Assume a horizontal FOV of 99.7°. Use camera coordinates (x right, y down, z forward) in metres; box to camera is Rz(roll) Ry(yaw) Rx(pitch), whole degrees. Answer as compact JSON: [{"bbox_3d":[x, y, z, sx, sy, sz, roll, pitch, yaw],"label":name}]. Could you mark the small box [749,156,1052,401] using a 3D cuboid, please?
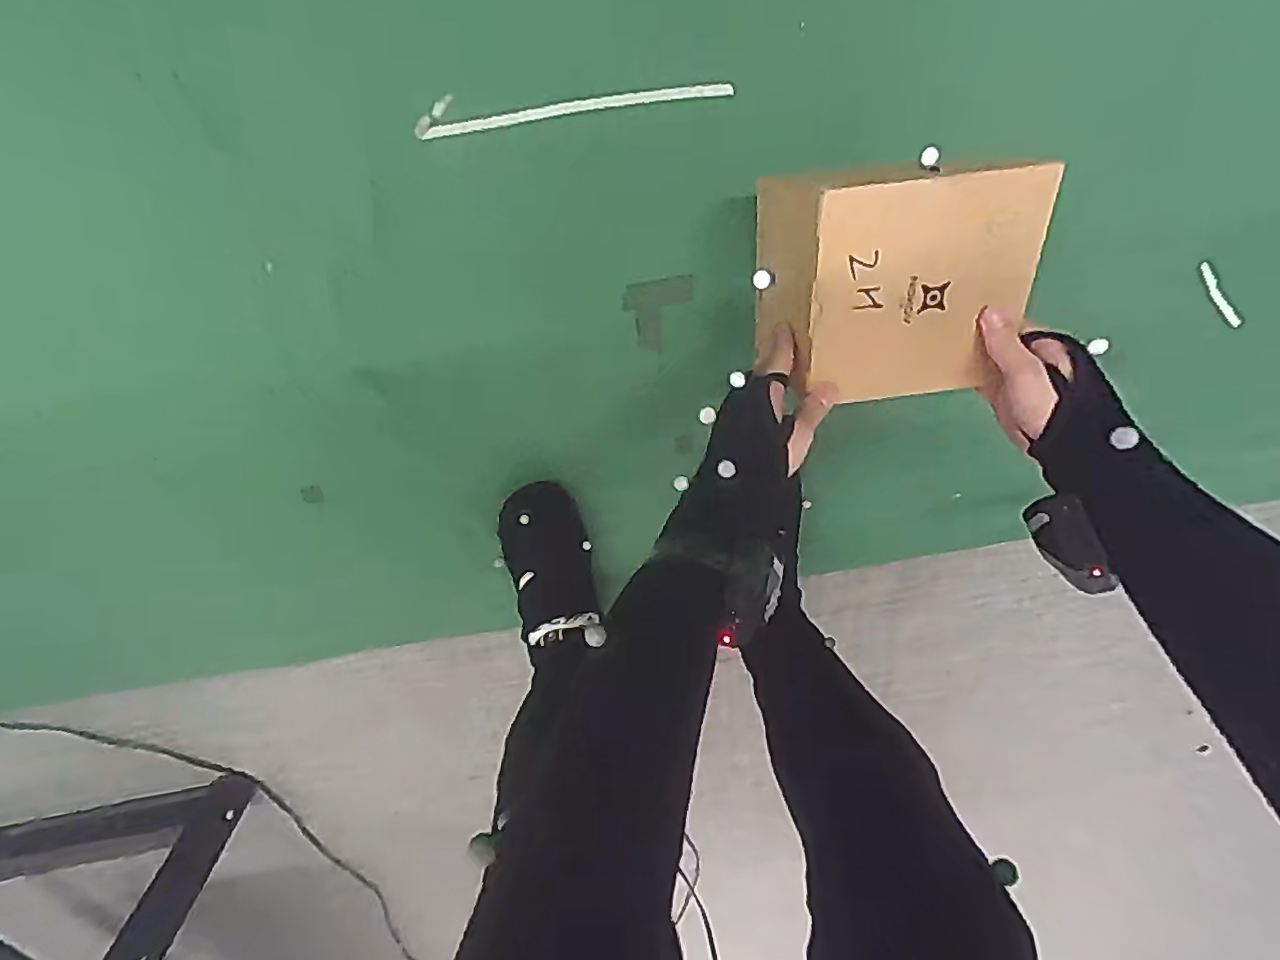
[{"bbox_3d":[0.208,-0.189,0.490,0.179,0.176,0.168,-7,122,-1],"label":"small box"}]
